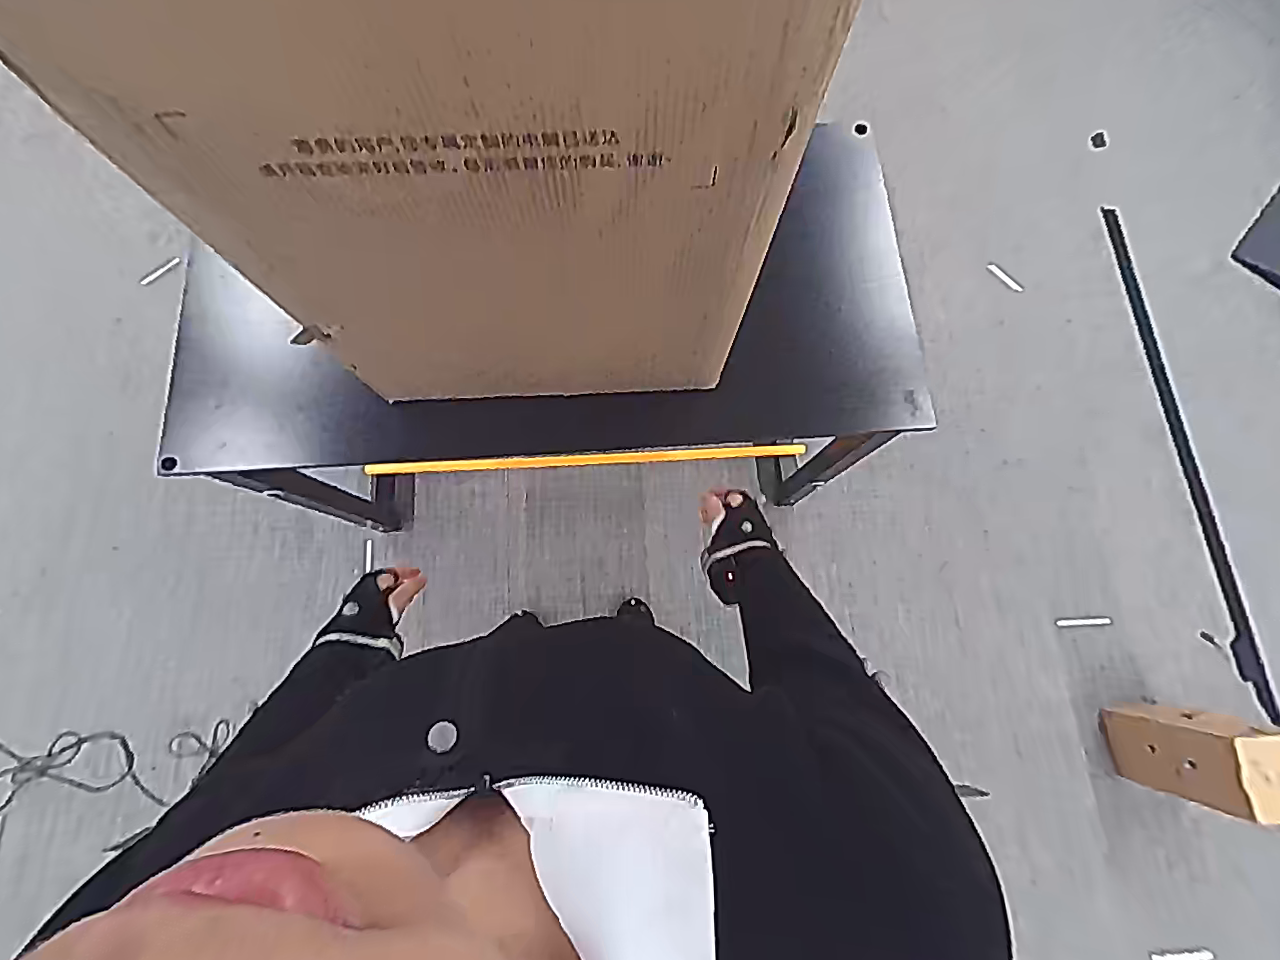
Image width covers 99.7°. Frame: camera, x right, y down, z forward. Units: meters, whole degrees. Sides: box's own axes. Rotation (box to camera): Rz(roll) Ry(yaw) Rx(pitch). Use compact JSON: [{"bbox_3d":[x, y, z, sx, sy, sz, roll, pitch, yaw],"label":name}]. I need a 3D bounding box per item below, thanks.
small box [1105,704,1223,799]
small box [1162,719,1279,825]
[{"bbox_3d":[1.326,0.668,1.355,0.168,0.176,0.179,-7,77,-3],"label":"small box"},{"bbox_3d":[1.330,0.635,1.193,0.179,0.176,0.168,-3,76,-1],"label":"small box"}]
